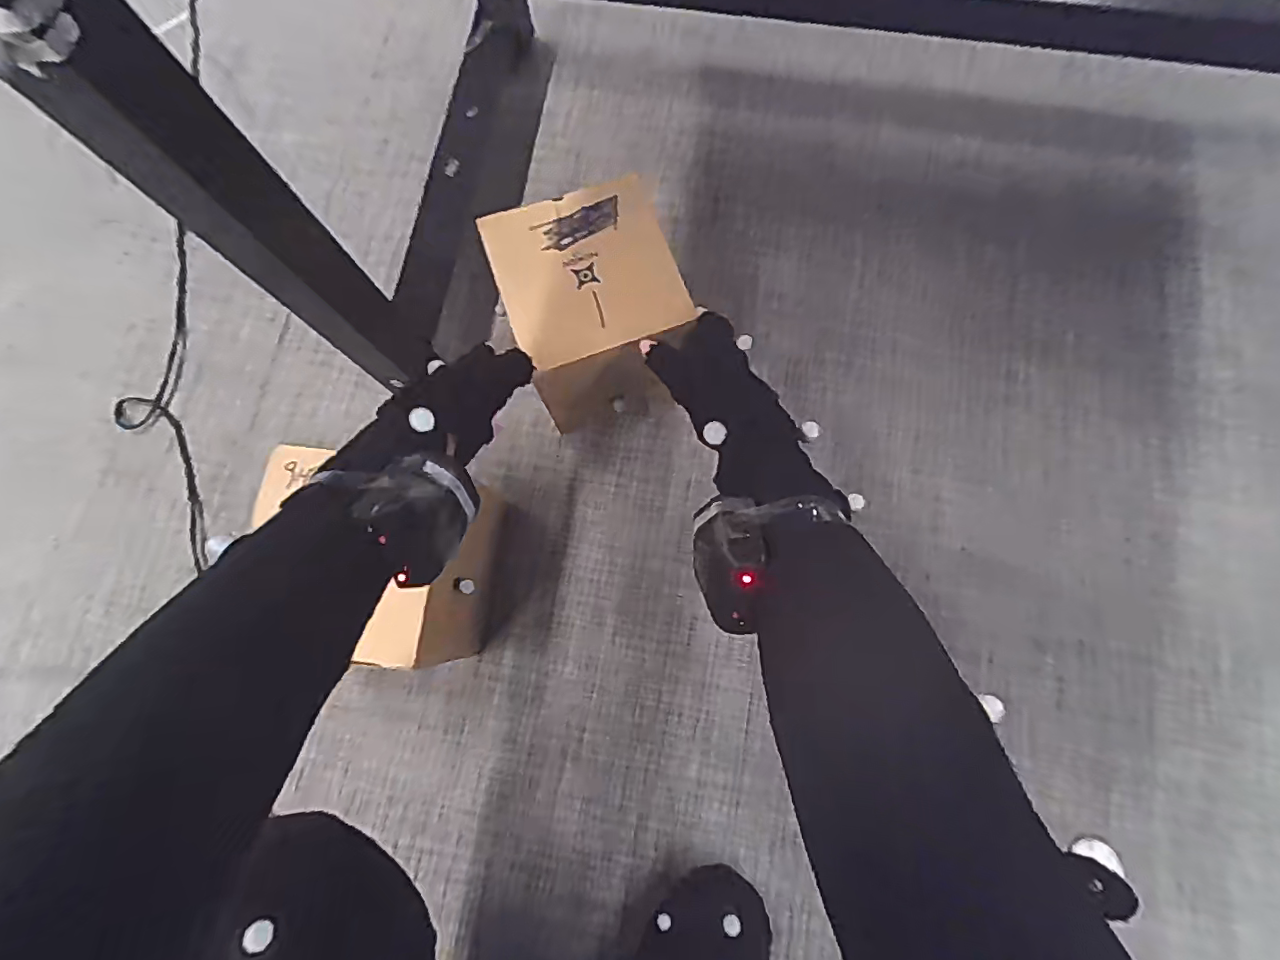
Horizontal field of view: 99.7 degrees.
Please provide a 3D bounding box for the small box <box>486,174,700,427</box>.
[{"bbox_3d":[-0.047,-0.181,0.589,0.168,0.176,0.179,-19,78,-3],"label":"small box"}]
